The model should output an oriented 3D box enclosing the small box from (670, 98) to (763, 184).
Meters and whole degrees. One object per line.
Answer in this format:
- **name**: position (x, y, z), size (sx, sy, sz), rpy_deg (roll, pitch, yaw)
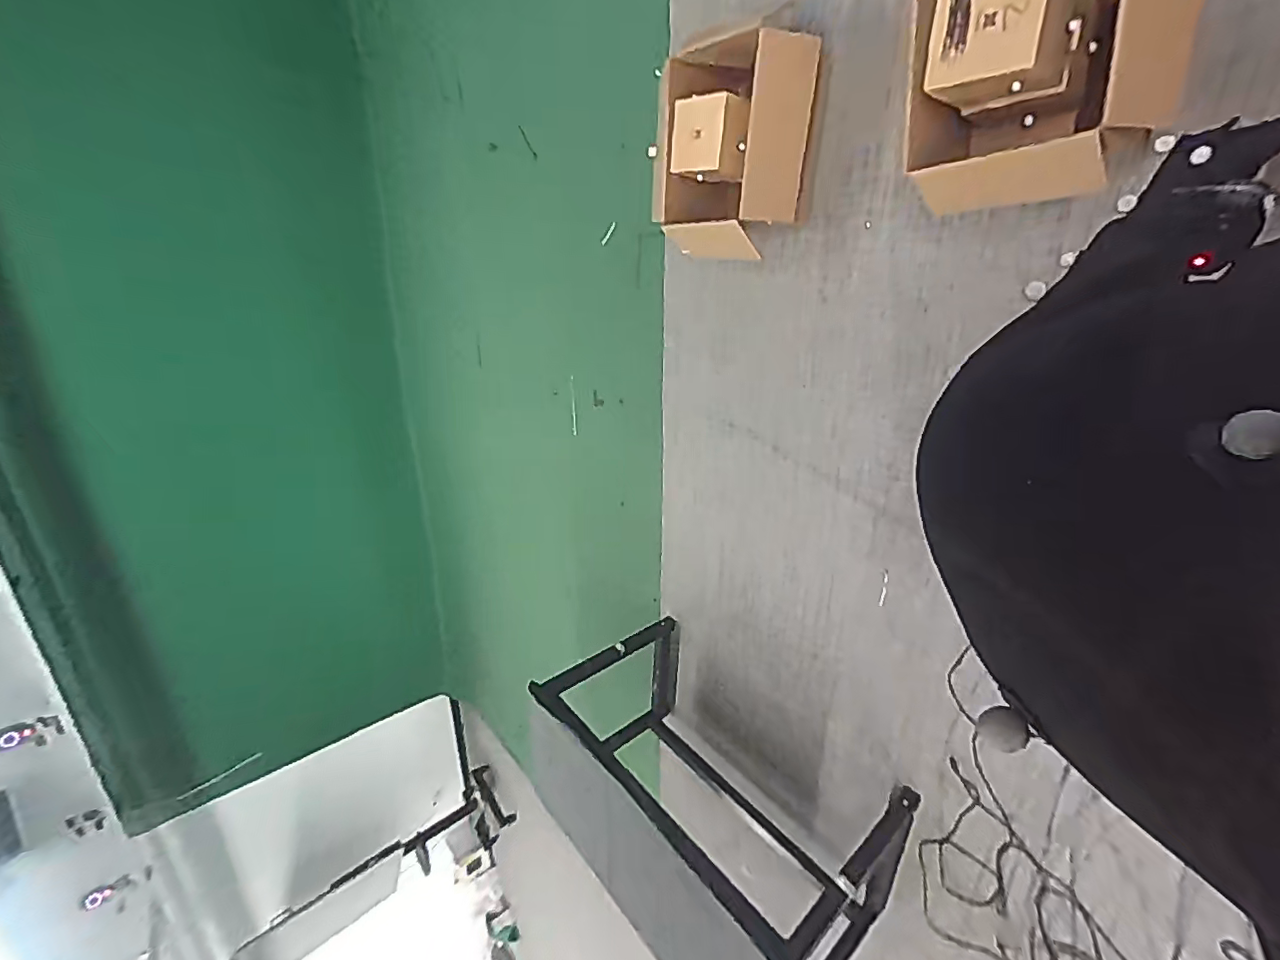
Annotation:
- **small box**: position (0.204, -0.894, 1.439), size (0.179, 0.176, 0.168), rpy_deg (26, 121, 42)
